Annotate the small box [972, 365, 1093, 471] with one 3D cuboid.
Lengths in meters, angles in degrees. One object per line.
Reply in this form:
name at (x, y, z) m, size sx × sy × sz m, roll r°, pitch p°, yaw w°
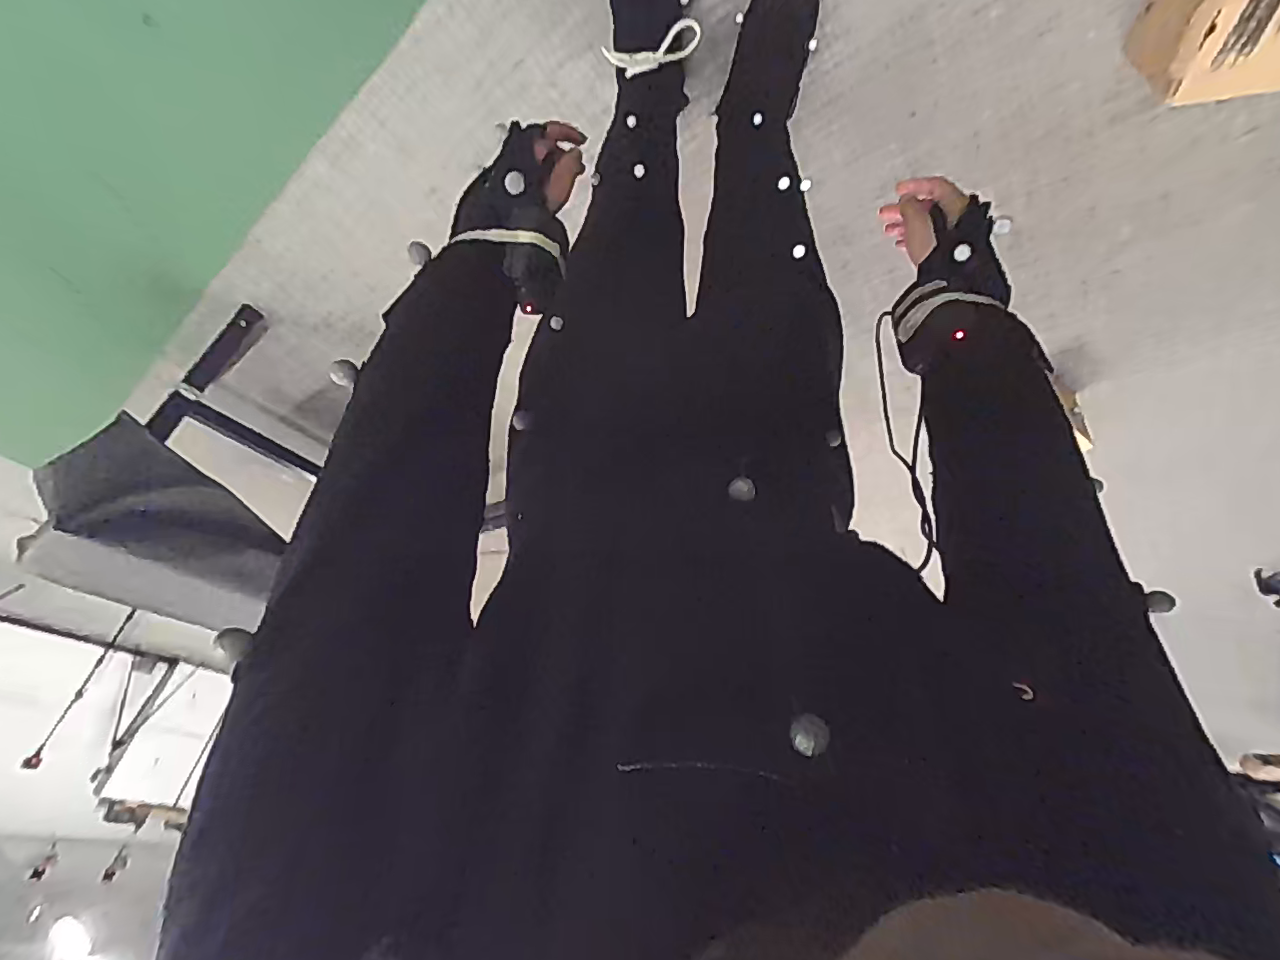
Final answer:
small box at (0.965, -0.154, 1.343) m, size 0.168 × 0.176 × 0.179 m, roll 25°, pitch 145°, yaw -23°
